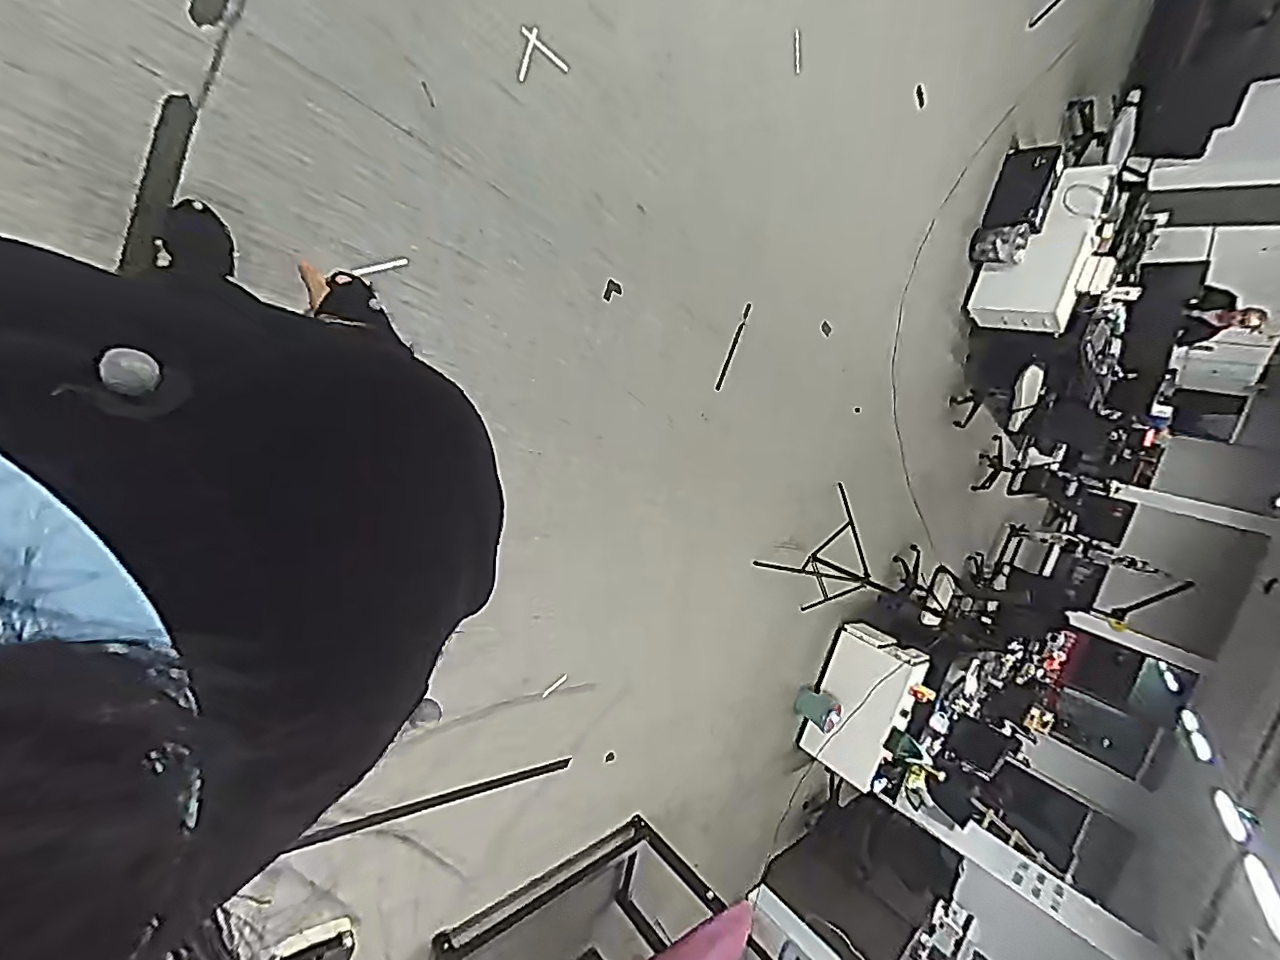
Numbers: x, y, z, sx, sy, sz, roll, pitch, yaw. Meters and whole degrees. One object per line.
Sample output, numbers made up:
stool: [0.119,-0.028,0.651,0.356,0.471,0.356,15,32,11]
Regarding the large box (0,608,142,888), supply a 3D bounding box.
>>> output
large box: [-1.072,0.429,0.859,0.408,0.320,0.320,4,103,-45]
